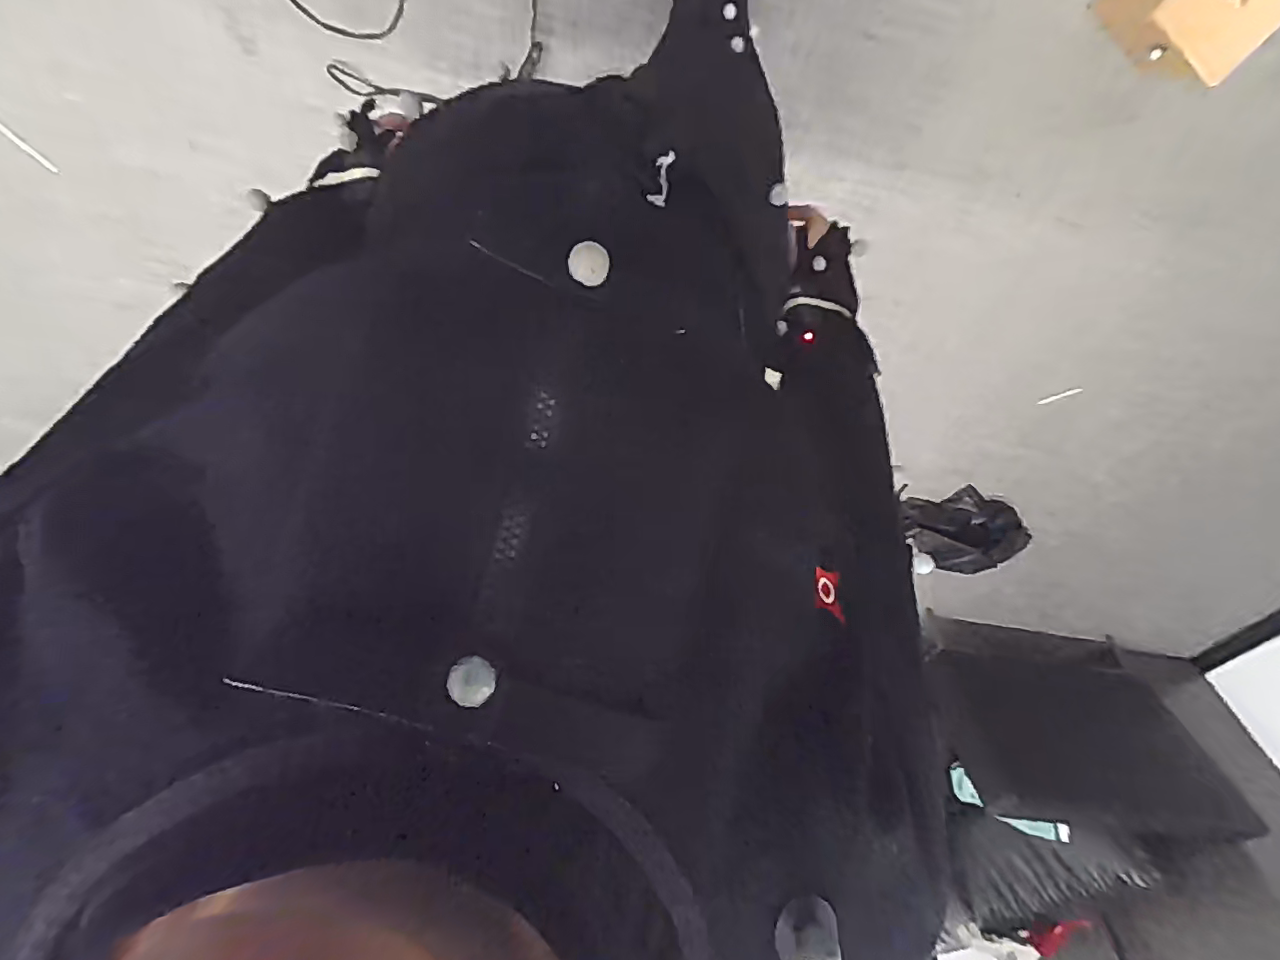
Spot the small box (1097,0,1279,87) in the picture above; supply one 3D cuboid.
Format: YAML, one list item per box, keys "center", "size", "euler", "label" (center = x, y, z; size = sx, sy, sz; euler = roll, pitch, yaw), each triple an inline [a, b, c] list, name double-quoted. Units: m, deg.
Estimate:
- center: [0.860, -0.746, 0.815]
  size: [0.179, 0.176, 0.168]
  euler: [24, 130, -19]
  label: "small box"
